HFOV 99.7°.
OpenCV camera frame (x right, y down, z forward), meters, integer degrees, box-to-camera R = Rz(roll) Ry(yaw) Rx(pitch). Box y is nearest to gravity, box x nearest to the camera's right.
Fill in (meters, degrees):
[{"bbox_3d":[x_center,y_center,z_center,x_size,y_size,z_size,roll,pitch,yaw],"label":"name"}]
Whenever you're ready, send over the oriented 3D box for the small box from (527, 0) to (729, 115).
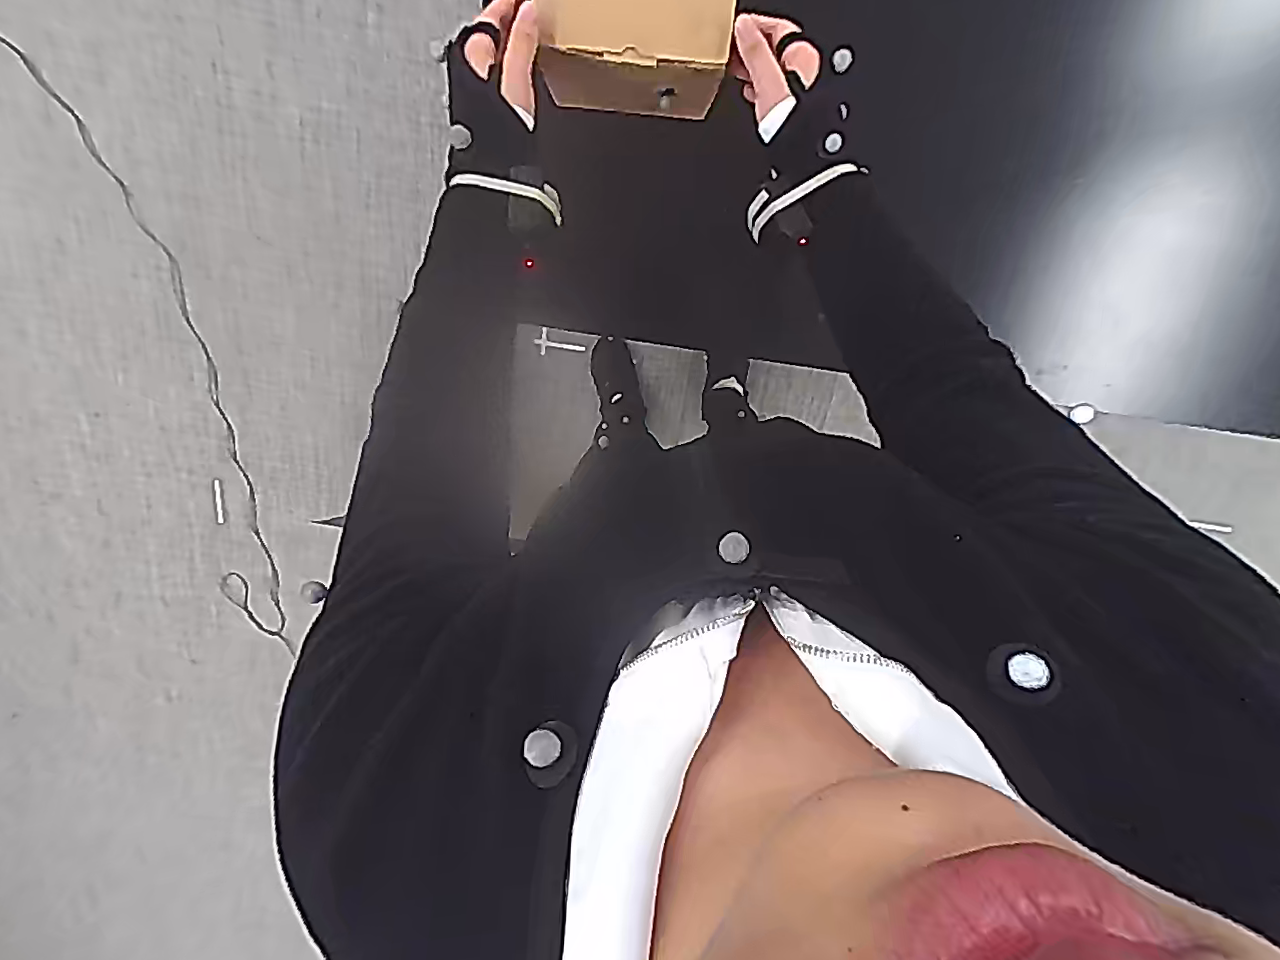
[{"bbox_3d":[-0.006,-0.460,0.495,0.168,0.176,0.179,3,110,-3],"label":"small box"}]
